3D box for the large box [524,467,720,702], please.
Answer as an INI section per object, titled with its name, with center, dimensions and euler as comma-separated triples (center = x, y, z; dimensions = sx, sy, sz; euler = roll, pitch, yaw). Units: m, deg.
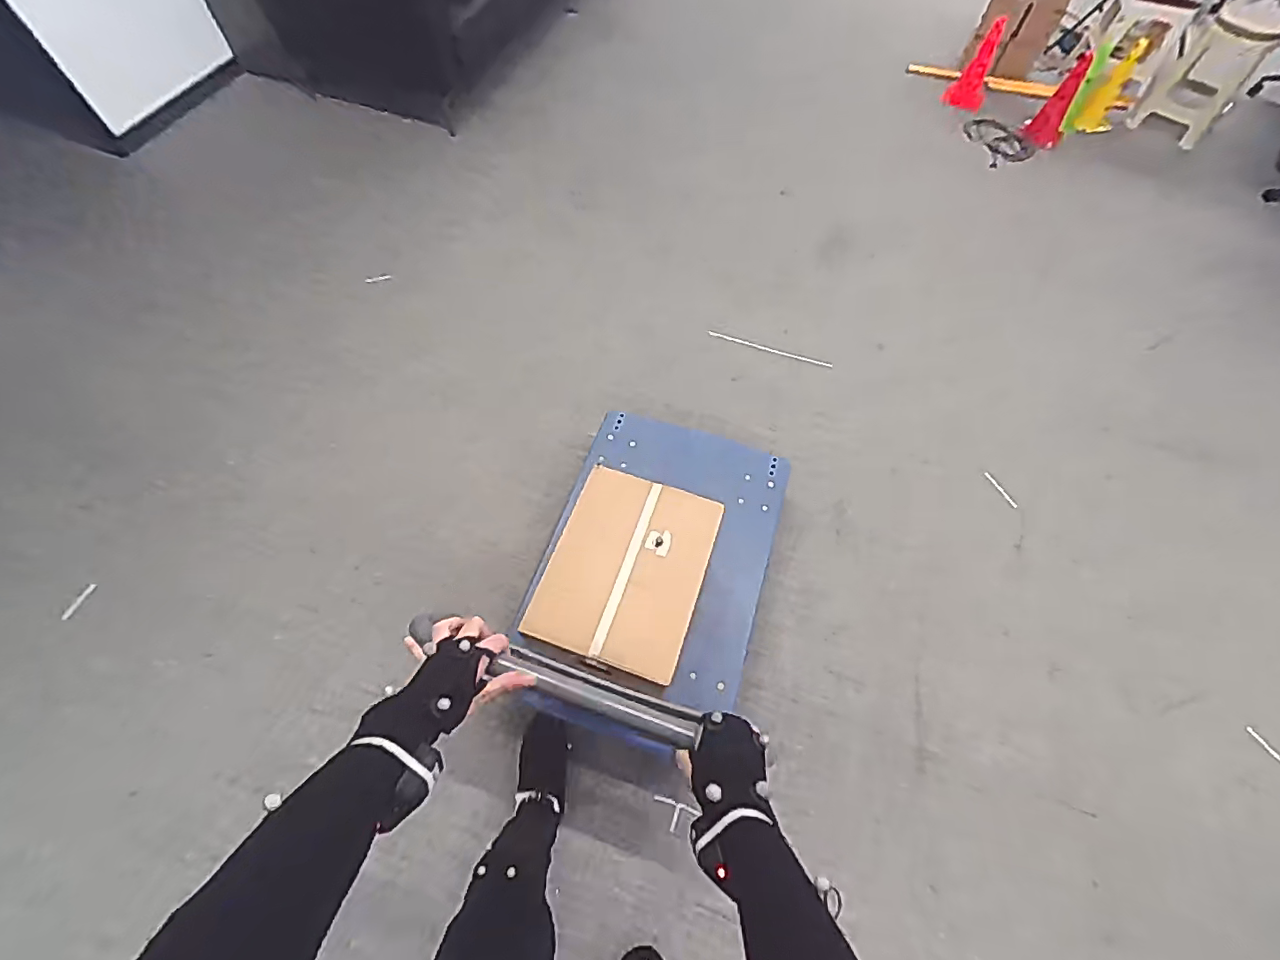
[large box]
center = -0.030, 0.249, 1.256
dimensions = 0.320, 0.320, 0.408
euler = 18, 61, 7
